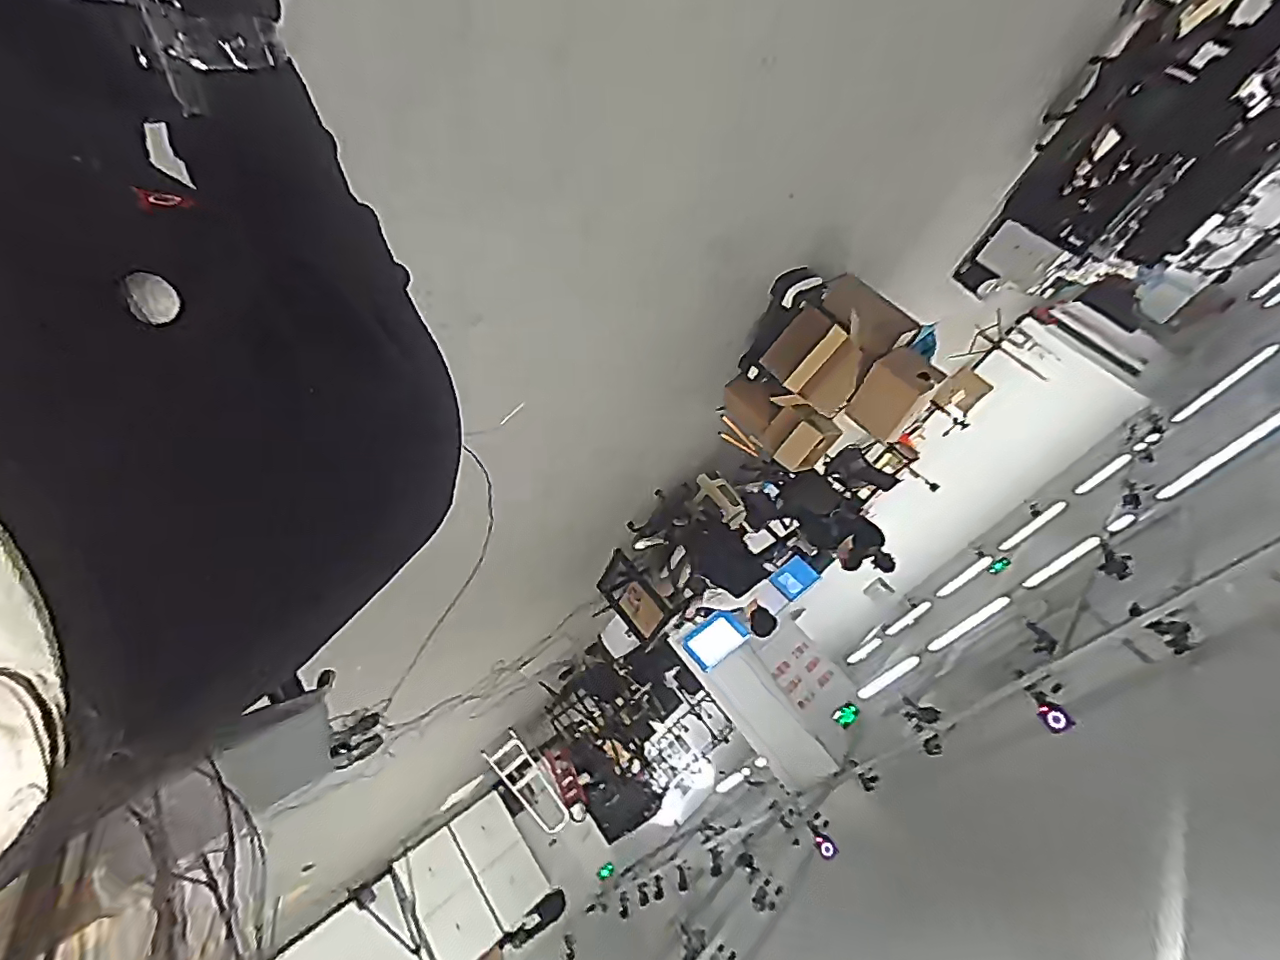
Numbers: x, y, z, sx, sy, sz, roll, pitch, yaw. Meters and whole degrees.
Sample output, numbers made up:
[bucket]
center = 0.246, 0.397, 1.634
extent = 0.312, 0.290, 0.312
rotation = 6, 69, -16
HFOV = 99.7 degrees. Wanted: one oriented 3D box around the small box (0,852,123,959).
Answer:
[small box]
center = -1.287, 0.956, 1.178
extent = 0.179, 0.176, 0.168
rotation = -22, 153, -41
